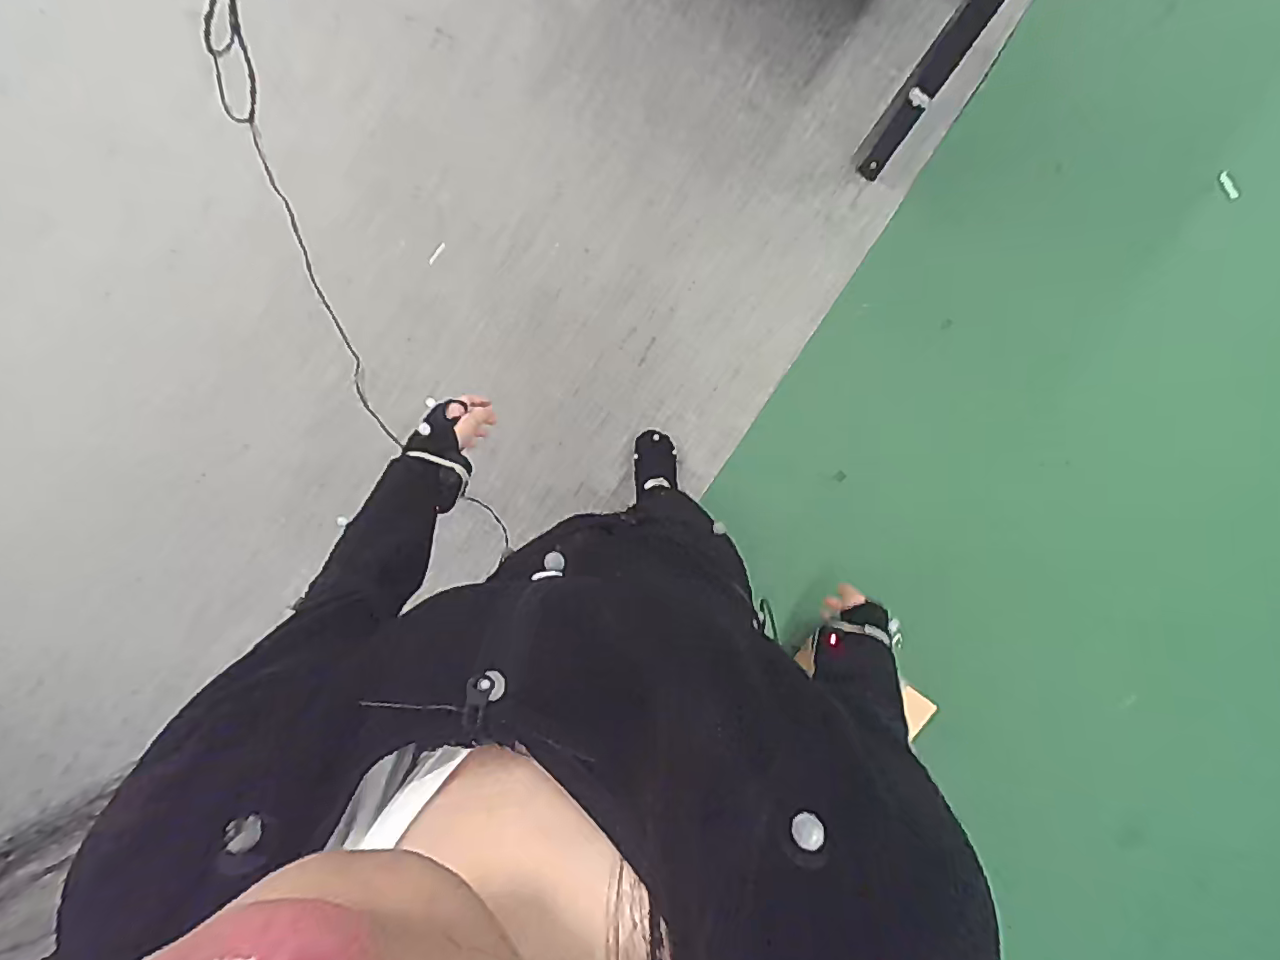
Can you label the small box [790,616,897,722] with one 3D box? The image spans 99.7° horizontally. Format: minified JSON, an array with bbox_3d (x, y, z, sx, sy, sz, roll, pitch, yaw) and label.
[{"bbox_3d":[0.524,0.484,1.418,0.179,0.176,0.168,36,93,1],"label":"small box"}]
